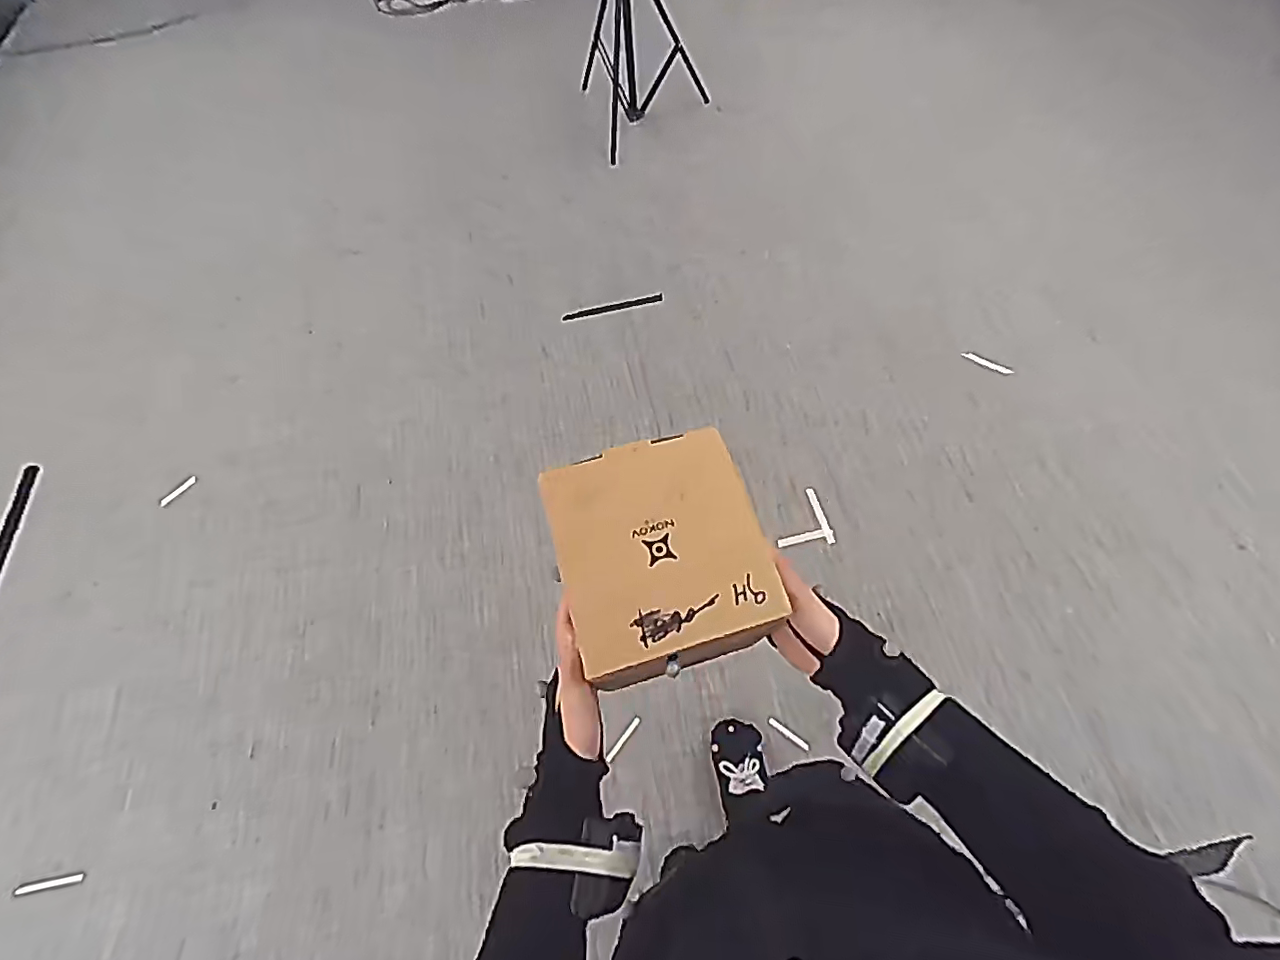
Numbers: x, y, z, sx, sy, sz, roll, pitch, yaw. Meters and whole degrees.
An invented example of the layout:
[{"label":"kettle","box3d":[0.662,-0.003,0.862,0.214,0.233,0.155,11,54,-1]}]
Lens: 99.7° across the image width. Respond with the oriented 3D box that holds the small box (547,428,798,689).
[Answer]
[{"label":"small box","box3d":[0.020,0.081,0.508,0.168,0.176,0.179,-16,66,-6]}]
